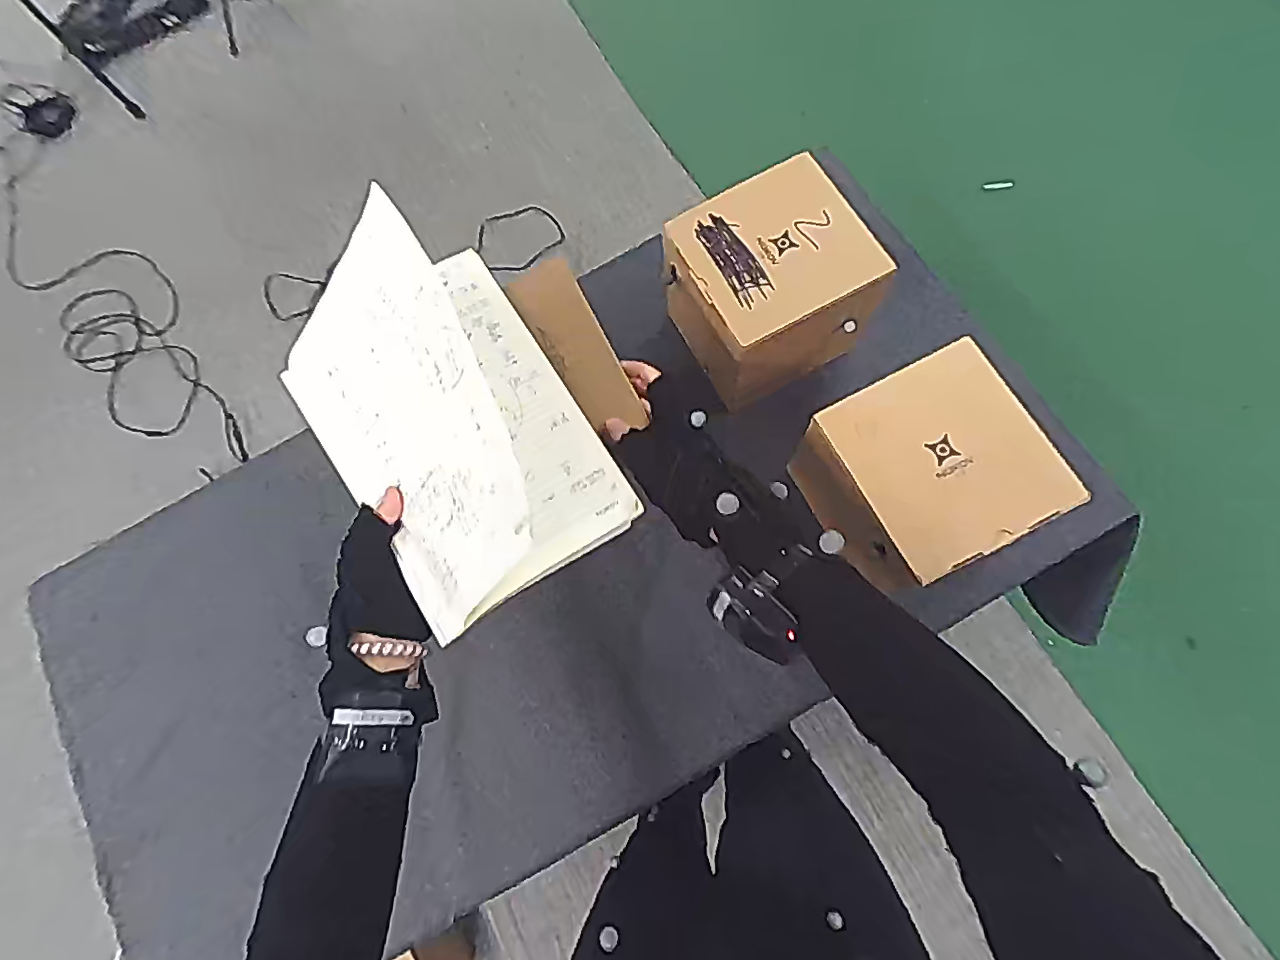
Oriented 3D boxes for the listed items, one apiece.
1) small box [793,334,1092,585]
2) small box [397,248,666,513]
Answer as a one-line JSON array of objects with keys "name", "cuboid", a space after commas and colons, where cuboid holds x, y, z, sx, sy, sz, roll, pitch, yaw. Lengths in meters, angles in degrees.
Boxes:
[{"name": "small box", "cuboid": [0.278, -0.007, 0.549, 0.168, 0.176, 0.179, -26, 76, -2]}, {"name": "small box", "cuboid": [-0.088, -0.076, 0.523, 0.179, 0.176, 0.168, -28, 82, 3]}]
